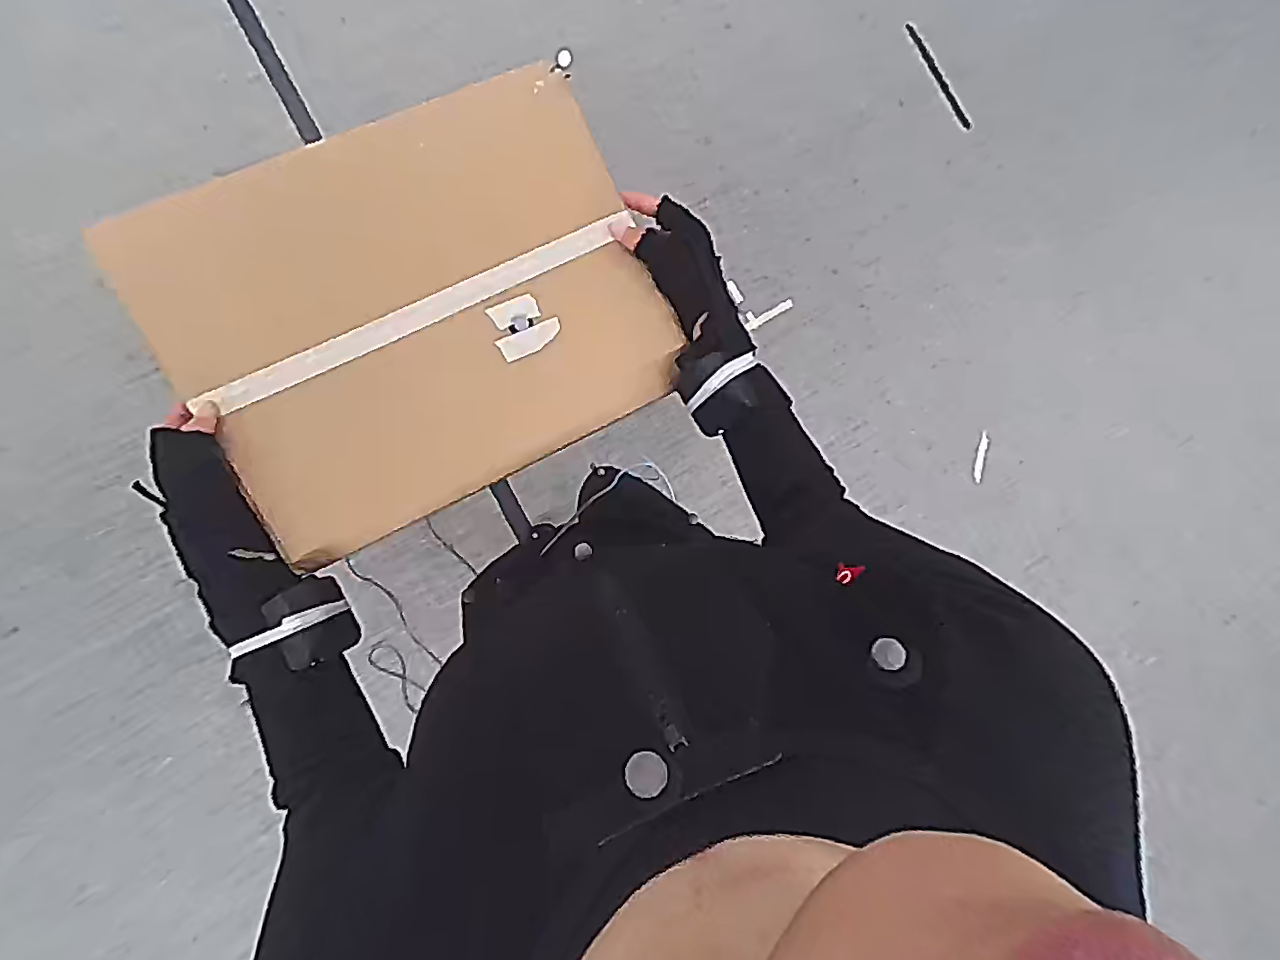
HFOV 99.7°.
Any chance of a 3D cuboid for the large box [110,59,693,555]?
[{"bbox_3d":[-0.217,-0.165,0.624,0.408,0.320,0.320,-28,100,-11],"label":"large box"}]
